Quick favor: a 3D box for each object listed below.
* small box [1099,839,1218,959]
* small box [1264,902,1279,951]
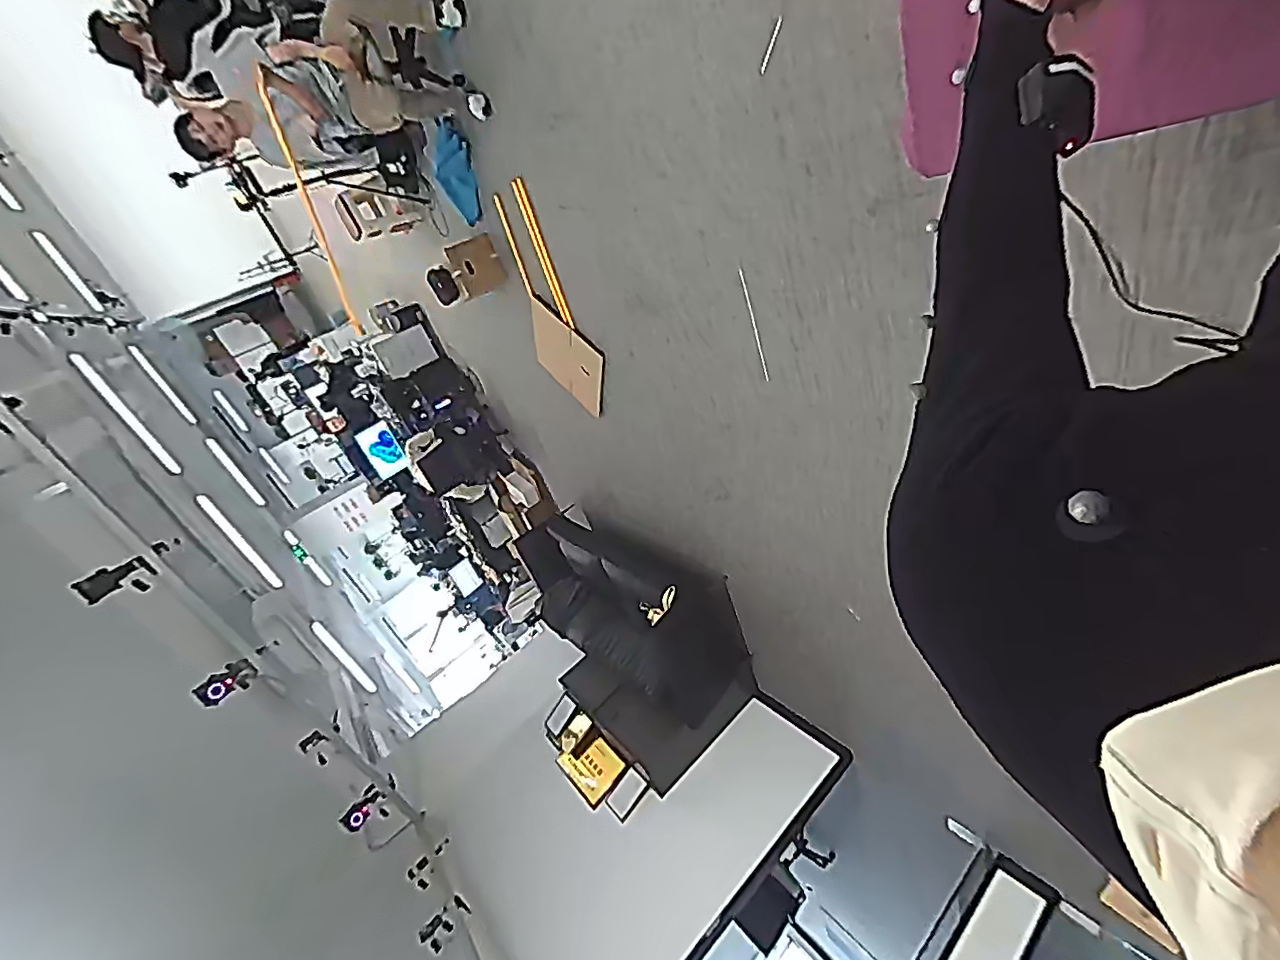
[{"bbox_3d":[1.357,1.093,1.416,0.168,0.176,0.179,30,147,45],"label":"small box"},{"bbox_3d":[1.661,1.100,1.278,0.179,0.176,0.168,31,147,44],"label":"small box"}]
